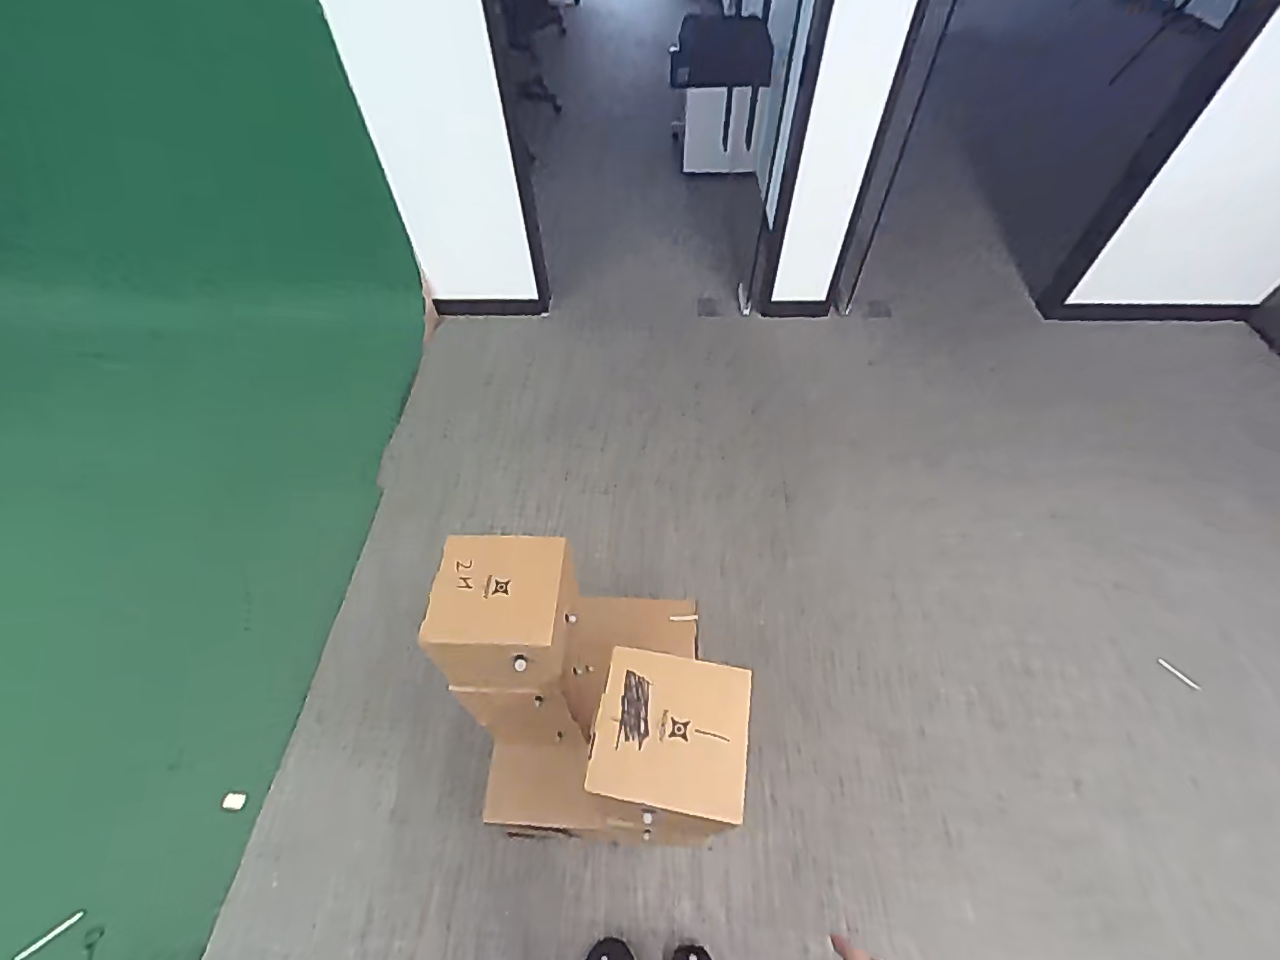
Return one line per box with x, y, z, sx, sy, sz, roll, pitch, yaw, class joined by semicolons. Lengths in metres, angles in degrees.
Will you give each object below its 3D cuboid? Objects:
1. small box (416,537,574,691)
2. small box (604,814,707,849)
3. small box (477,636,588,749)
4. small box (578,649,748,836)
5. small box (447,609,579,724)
-0.197;0.202;0.801;0.179;0.176;0.168;1;50;2;small box
0.031;0.530;0.953;0.168;0.176;0.179;5;52;4;small box
-0.196;0.413;1.051;0.179;0.176;0.168;-1;50;1;small box
0.031;0.337;0.686;0.179;0.176;0.168;9;53;6;small box
-0.204;0.309;0.926;0.179;0.176;0.168;1;50;0;small box
